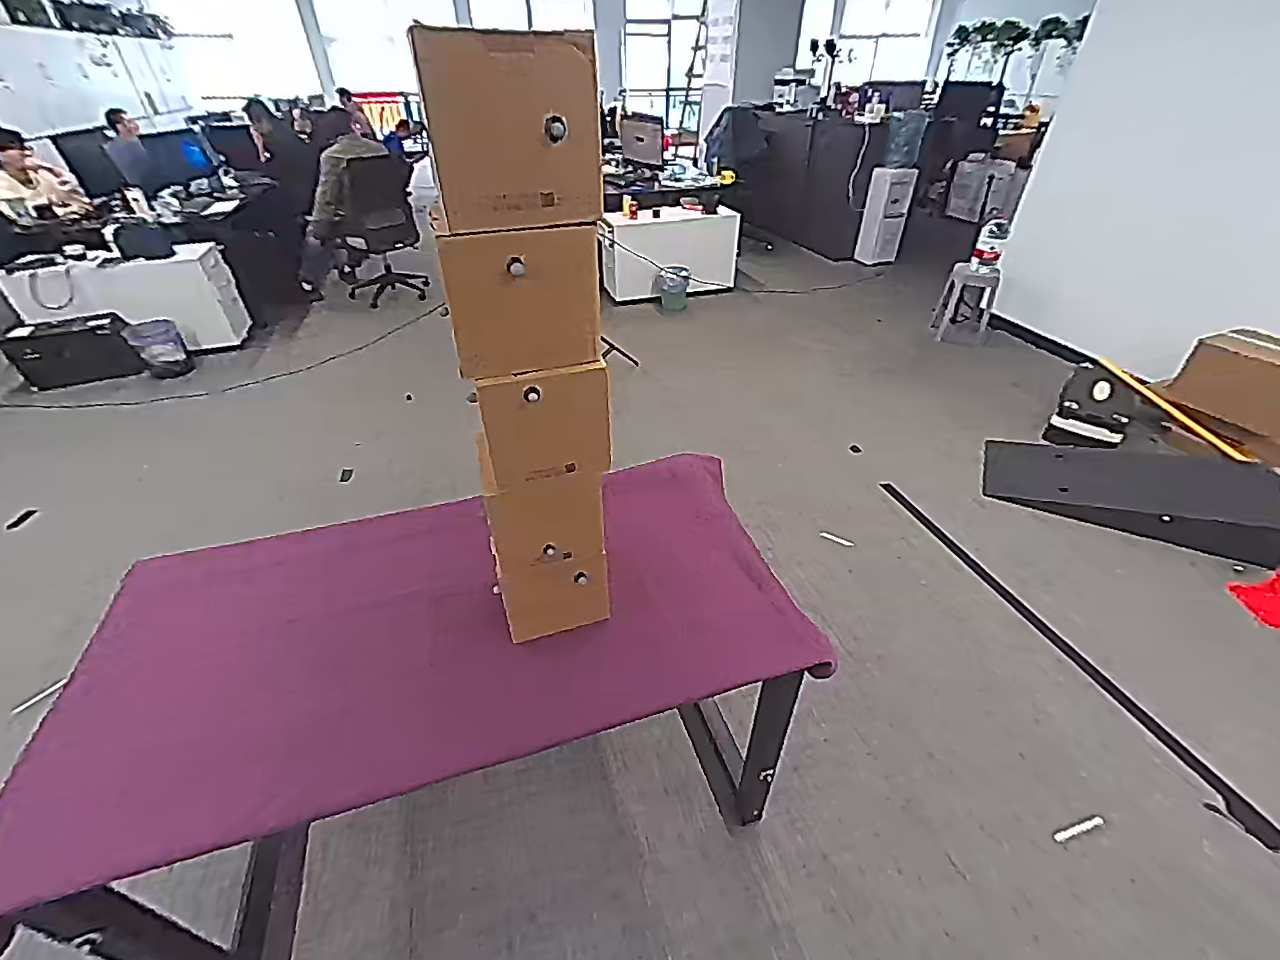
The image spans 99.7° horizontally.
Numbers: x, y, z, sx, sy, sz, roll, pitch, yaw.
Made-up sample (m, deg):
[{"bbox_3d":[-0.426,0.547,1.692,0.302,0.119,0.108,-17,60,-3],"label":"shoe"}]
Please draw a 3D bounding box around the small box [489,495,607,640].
[{"bbox_3d":[-0.161,0.156,0.968,0.179,0.176,0.168,-12,38,-14],"label":"small box"}]

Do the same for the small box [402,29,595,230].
[{"bbox_3d":[-0.151,-0.377,0.590,0.168,0.176,0.179,-12,38,-17],"label":"small box"}]

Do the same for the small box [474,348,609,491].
[{"bbox_3d":[-0.146,-0.109,0.775,0.168,0.176,0.179,-12,38,-15],"label":"small box"}]

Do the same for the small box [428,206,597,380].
[{"bbox_3d":[-0.157,-0.244,0.684,0.179,0.176,0.168,-13,39,-15],"label":"small box"}]
